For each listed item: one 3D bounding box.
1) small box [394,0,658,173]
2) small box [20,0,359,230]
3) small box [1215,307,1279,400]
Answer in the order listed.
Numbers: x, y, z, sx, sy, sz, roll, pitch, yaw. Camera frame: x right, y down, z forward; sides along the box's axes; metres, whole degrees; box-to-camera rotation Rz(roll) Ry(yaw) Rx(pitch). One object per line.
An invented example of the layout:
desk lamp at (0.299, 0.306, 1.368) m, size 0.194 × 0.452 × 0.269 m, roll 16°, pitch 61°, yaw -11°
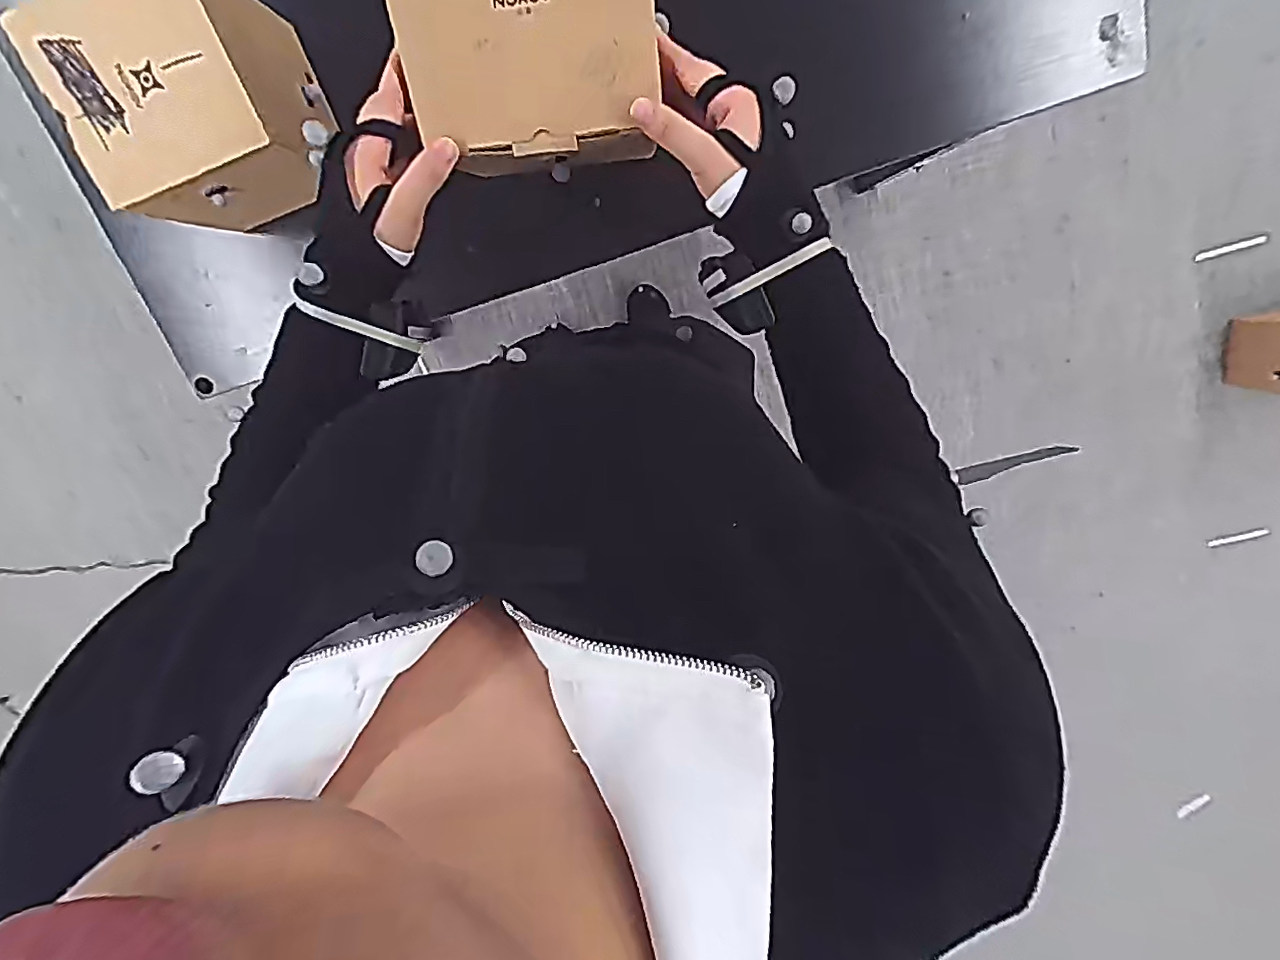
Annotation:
small box at (-0.074, -0.341, 0.412) m, size 0.168 × 0.176 × 0.179 m, roll -6°, pitch 117°, yaw 2°
small box at (-0.442, -0.381, 0.567) m, size 0.179 × 0.176 × 0.168 m, roll -18°, pitch 107°, yaw 6°
small box at (1.543, -0.307, 1.292) m, size 0.168 × 0.176 × 0.179 m, roll -14°, pitch 107°, yaw 6°
